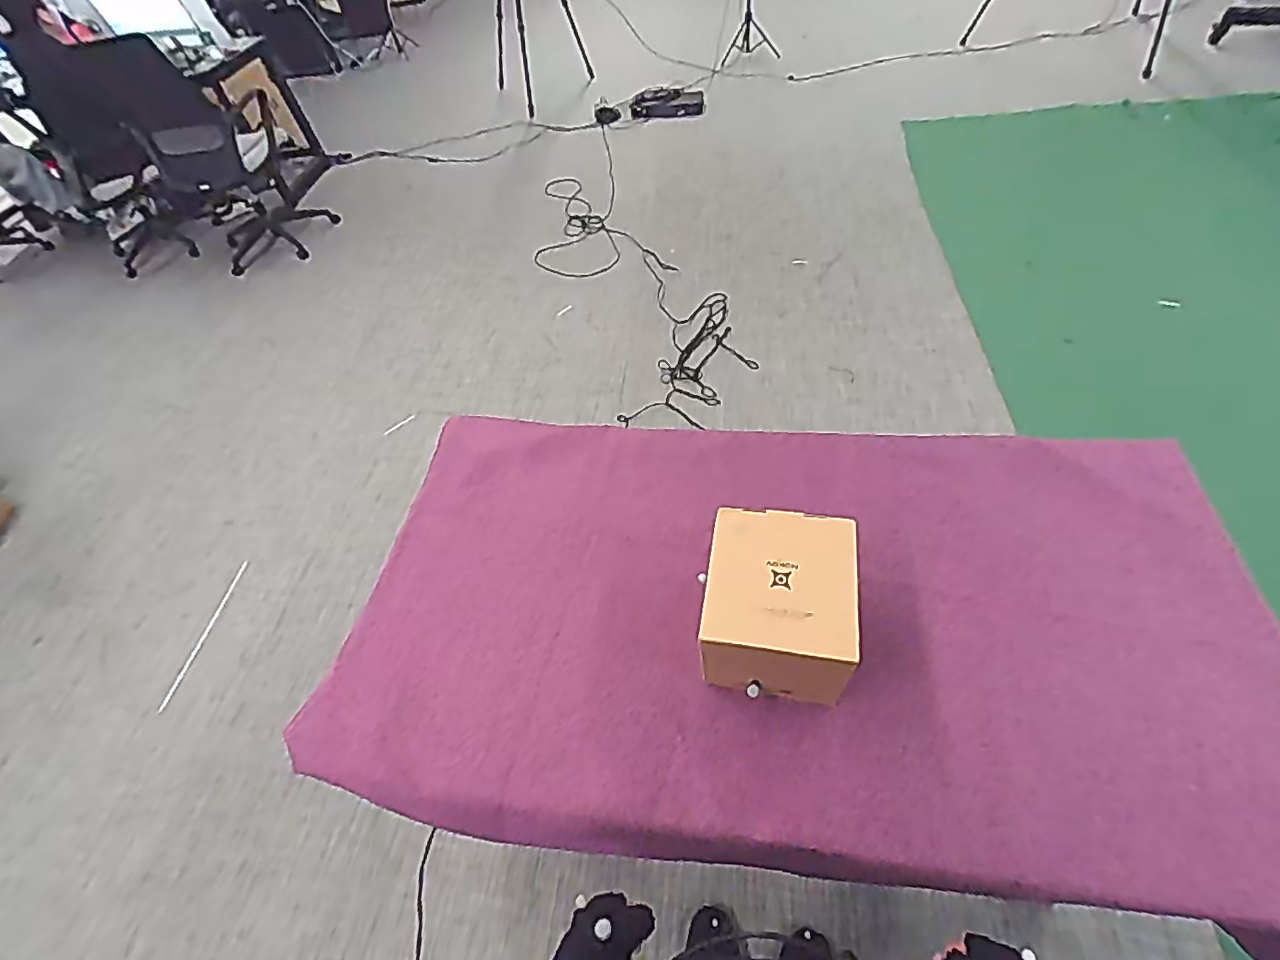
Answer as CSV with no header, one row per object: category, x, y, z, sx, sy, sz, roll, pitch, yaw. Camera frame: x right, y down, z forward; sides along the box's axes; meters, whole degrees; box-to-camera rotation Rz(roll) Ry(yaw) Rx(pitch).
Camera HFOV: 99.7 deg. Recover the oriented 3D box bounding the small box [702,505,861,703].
small box,0.172,0.155,0.671,0.168,0.176,0.179,5,55,14
